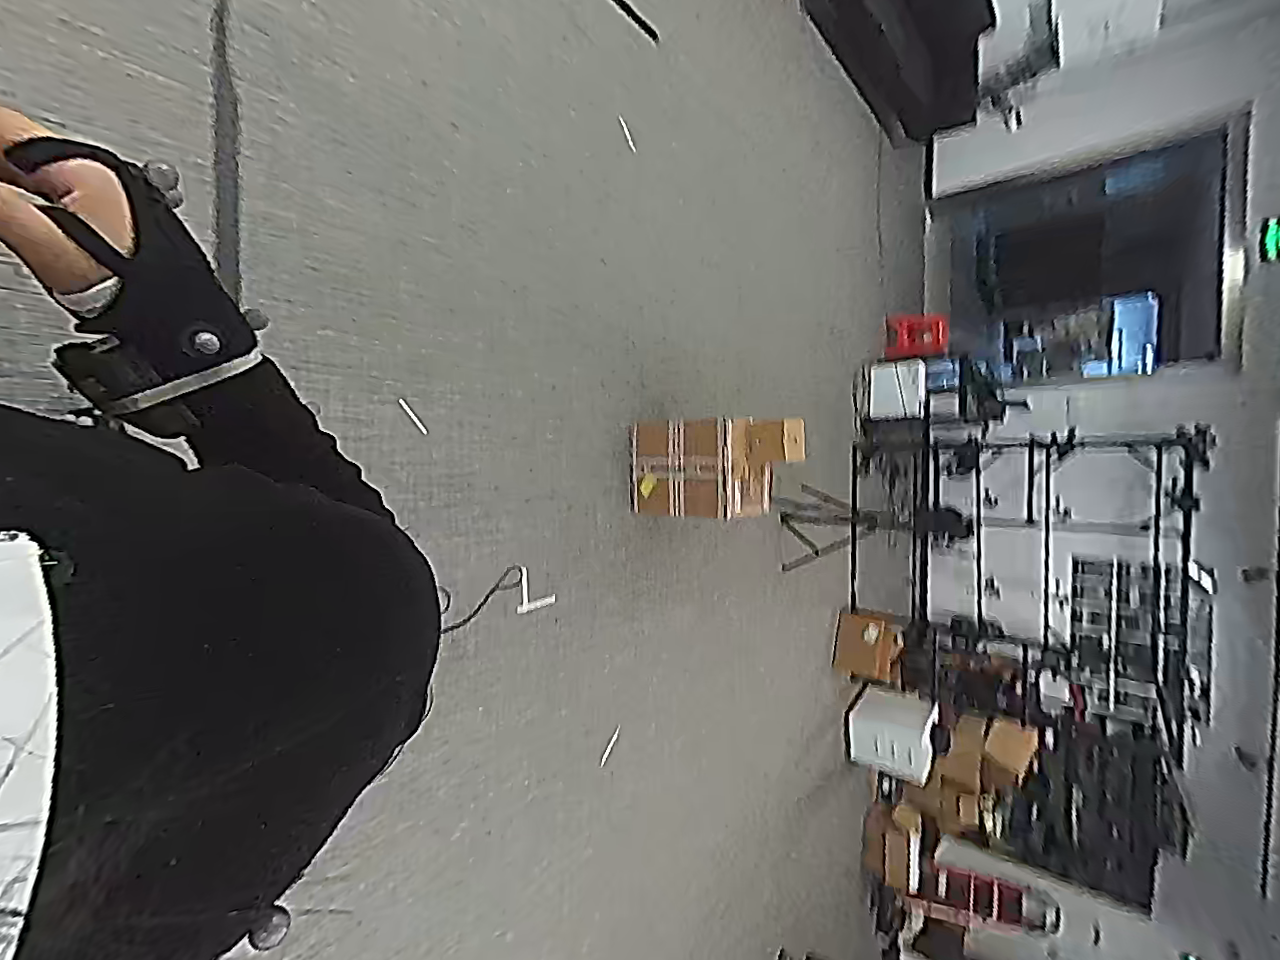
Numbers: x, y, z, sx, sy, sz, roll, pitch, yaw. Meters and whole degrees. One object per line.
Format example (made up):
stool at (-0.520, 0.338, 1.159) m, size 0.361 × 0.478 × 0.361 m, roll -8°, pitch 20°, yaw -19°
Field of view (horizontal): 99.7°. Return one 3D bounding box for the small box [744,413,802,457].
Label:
small box at (0.529, -0.178, 2.151) m, size 0.179 × 0.176 × 0.168 m, roll -5°, pitch 93°, yaw -48°
